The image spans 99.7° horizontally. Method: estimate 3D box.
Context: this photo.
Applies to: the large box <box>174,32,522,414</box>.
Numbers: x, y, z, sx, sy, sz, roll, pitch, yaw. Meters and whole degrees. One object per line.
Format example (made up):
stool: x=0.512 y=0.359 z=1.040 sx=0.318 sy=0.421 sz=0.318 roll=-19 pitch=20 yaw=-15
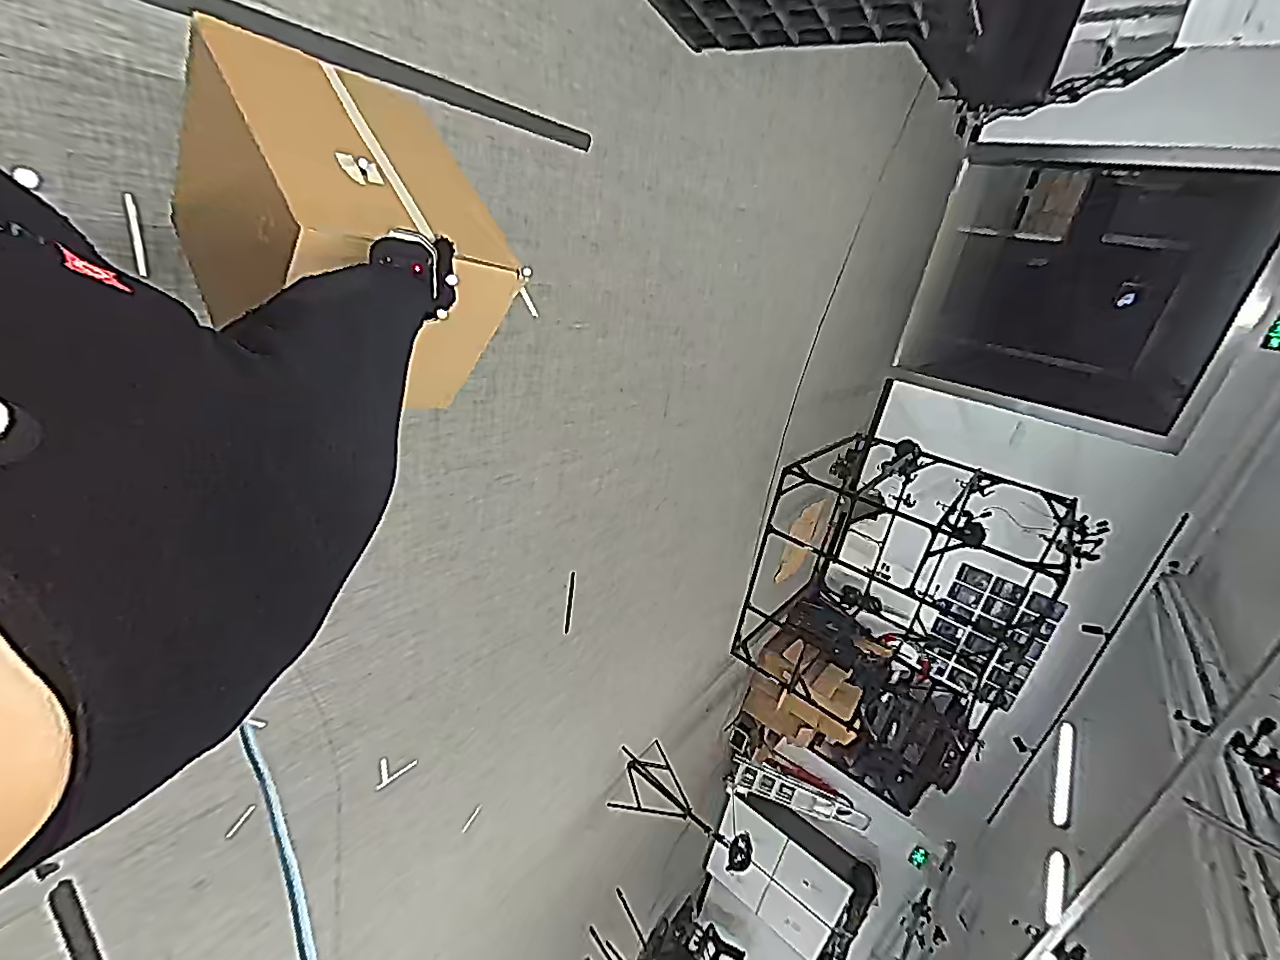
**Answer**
large box: x=-0.465 y=-0.356 z=0.850 sx=0.320 sy=0.408 sz=0.320 roll=-12 pitch=156 yaw=-51
